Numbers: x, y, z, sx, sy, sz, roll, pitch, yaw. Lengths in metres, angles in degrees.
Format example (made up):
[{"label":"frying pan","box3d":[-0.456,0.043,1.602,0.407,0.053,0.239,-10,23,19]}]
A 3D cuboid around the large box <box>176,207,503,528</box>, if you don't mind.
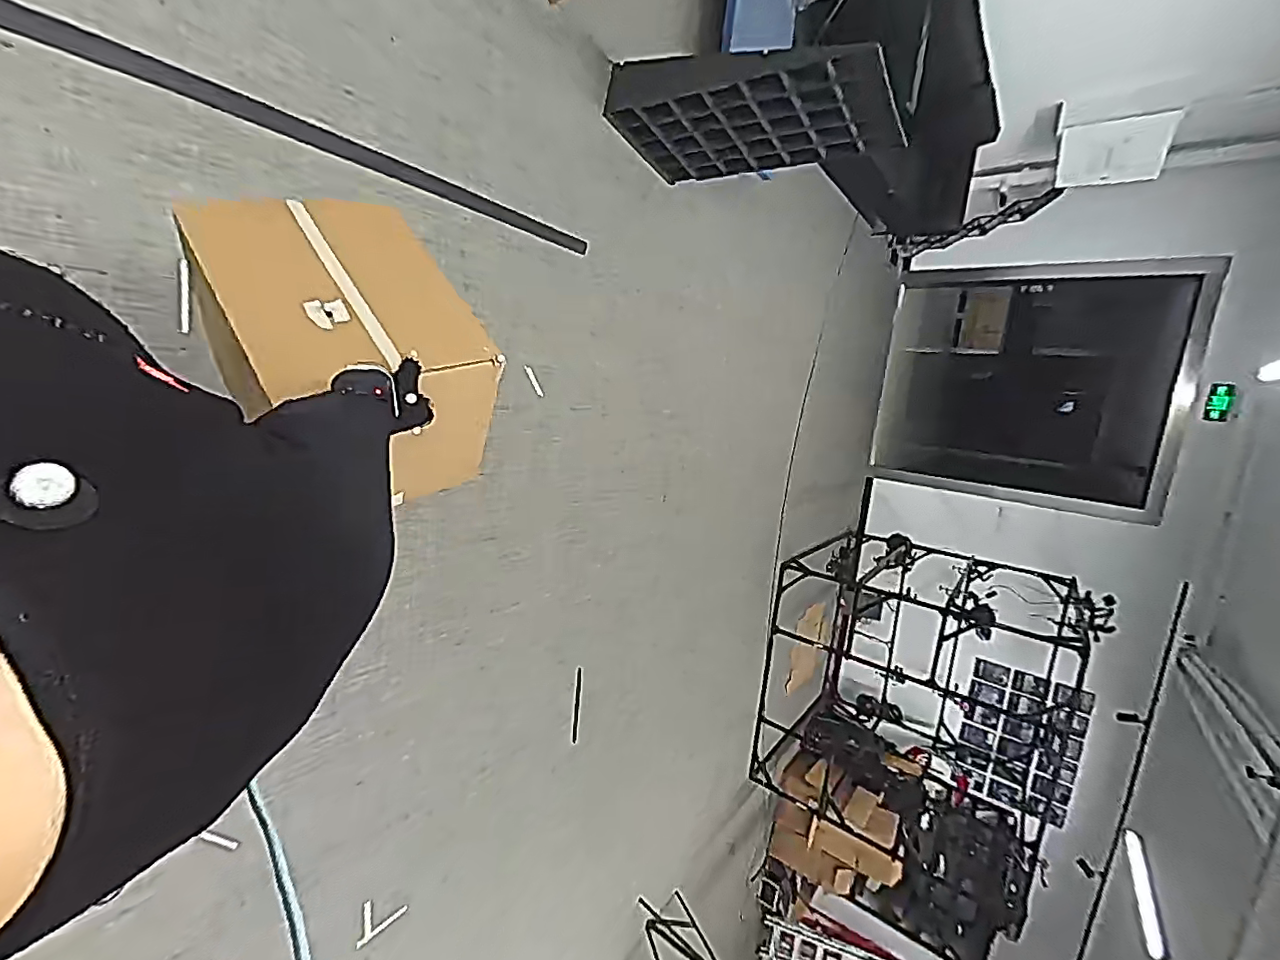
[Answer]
[{"label":"large box","box3d":[-0.497,-0.197,0.917,0.320,0.408,0.320,-24,158,-38]}]
